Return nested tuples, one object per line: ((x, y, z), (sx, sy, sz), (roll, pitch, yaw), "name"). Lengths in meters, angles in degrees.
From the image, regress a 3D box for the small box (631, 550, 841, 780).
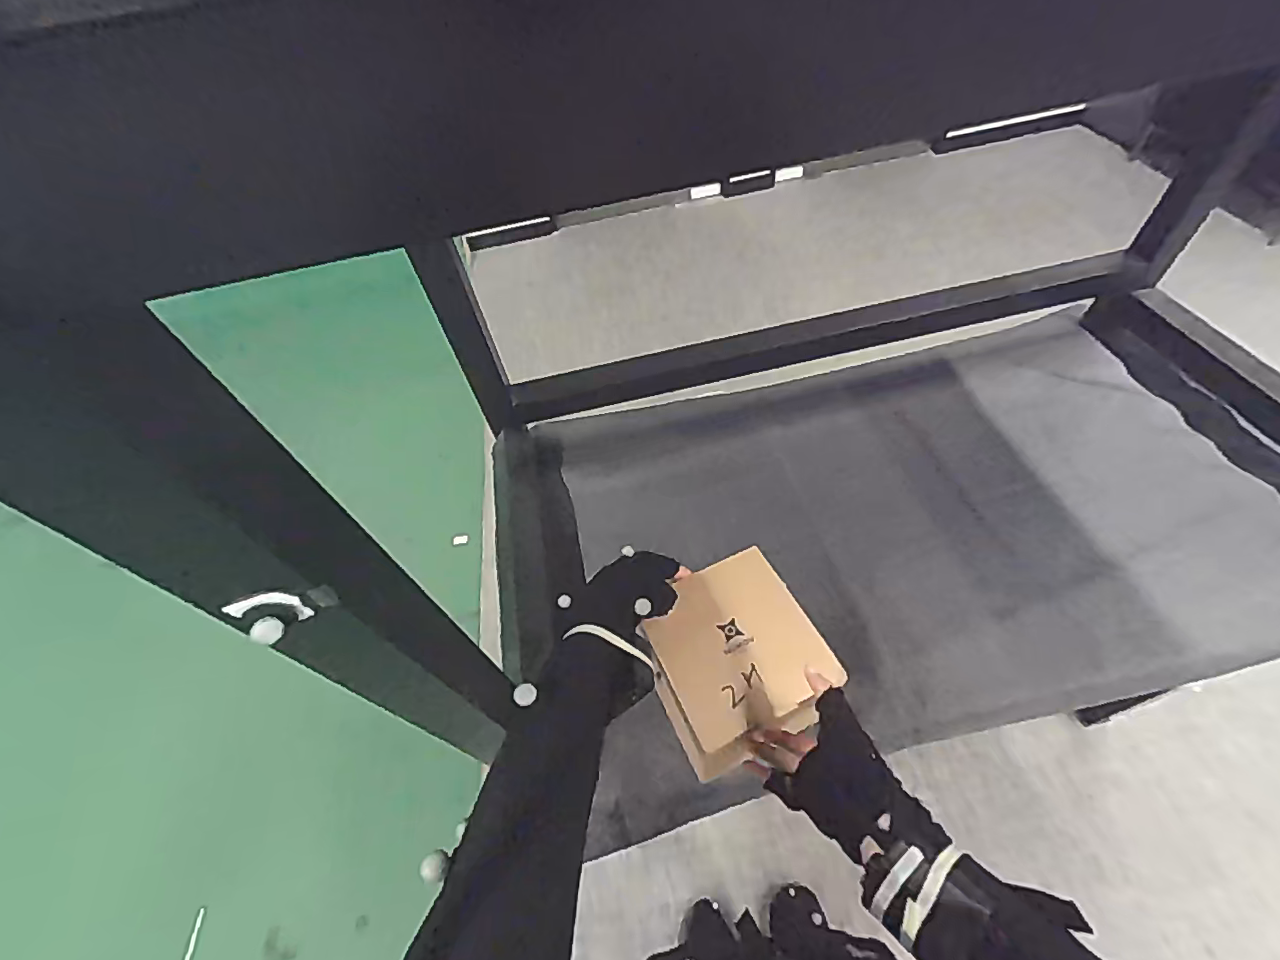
((0.101, 0.220, 0.639), (0.168, 0.176, 0.179), (-23, 53, -11), "small box")
